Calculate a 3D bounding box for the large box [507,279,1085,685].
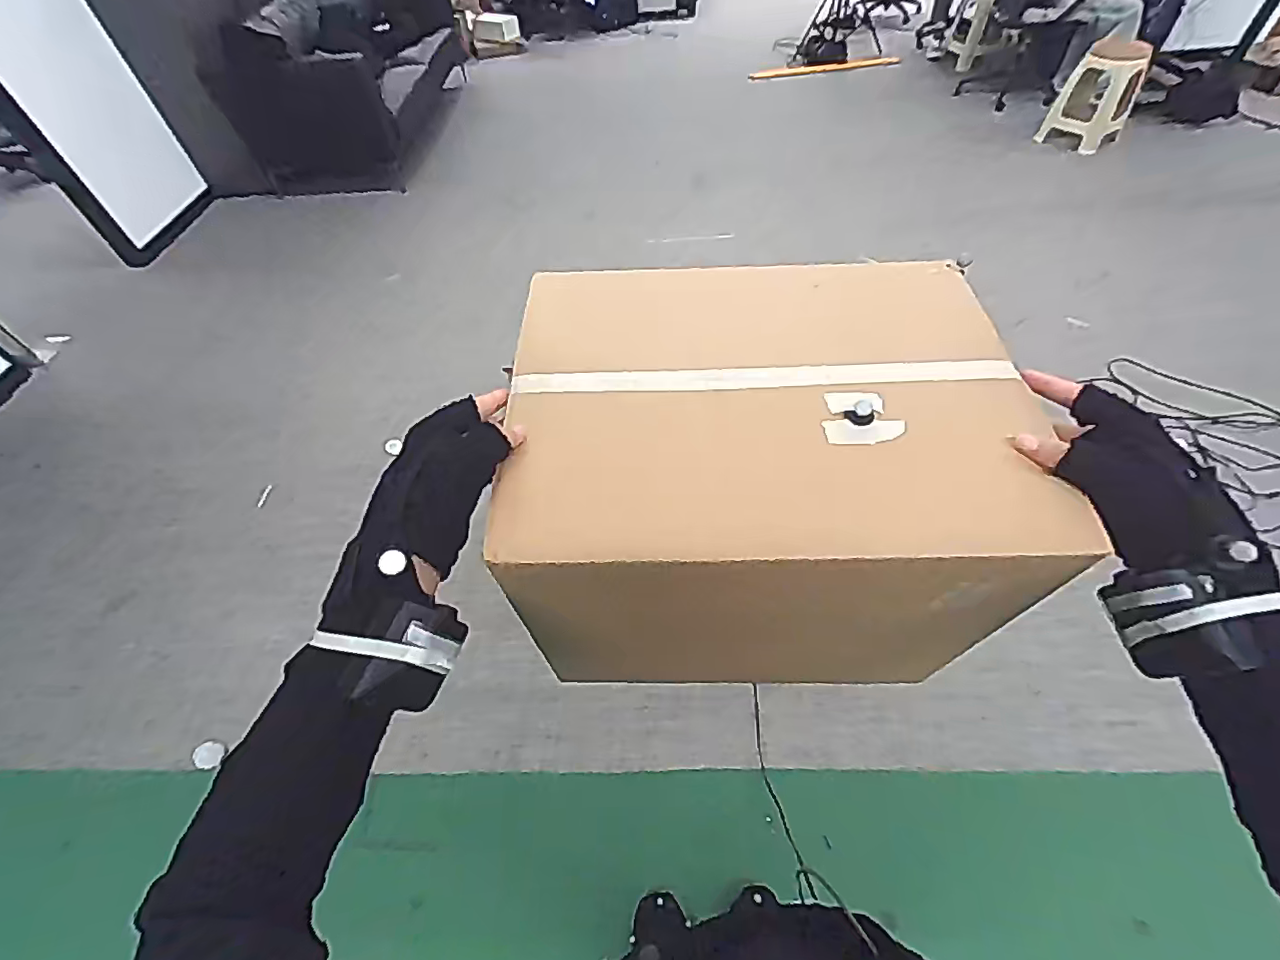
[{"bbox_3d":[0.105,0.015,0.572,0.408,0.320,0.320,-1,56,1],"label":"large box"}]
